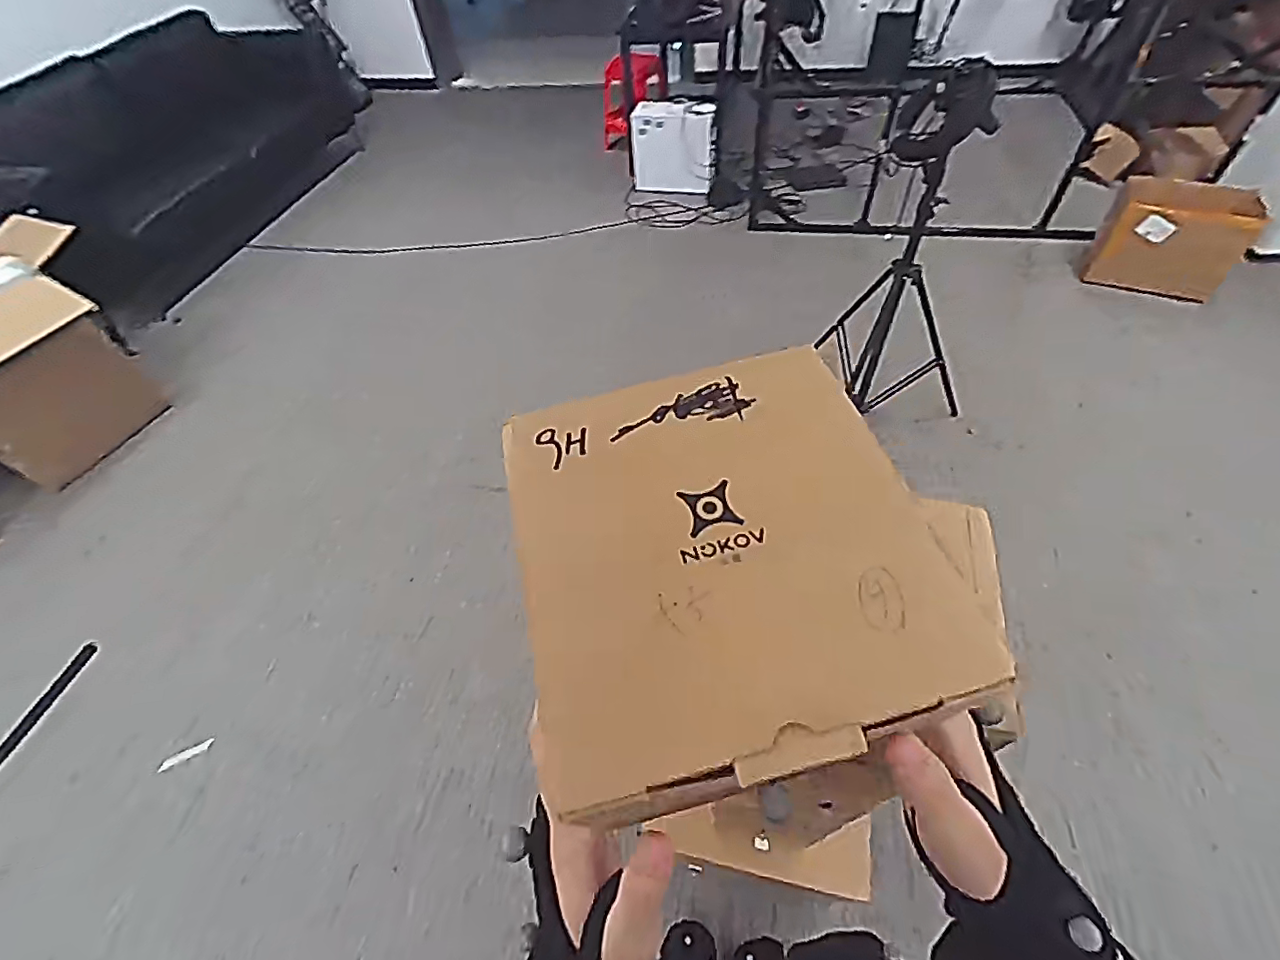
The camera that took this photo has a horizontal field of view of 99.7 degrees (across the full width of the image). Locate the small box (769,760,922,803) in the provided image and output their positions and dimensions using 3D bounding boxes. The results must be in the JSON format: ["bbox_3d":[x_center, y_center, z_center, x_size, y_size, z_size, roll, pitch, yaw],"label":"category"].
[{"bbox_3d":[0.185,0.233,0.588,0.179,0.176,0.168,9,54,13],"label":"small box"}]

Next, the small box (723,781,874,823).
[{"bbox_3d":[0.196,0.335,0.713,0.179,0.176,0.168,9,53,12],"label":"small box"}]

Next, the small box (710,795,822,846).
[{"bbox_3d":[0.221,0.541,0.968,0.179,0.176,0.168,7,53,9],"label":"small box"}]

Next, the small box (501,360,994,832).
[{"bbox_3d":[0.036,0.070,0.298,0.168,0.176,0.179,-15,57,-4],"label":"small box"}]

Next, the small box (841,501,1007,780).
[{"bbox_3d":[0.176,0.131,0.459,0.168,0.176,0.179,9,53,12],"label":"small box"}]
